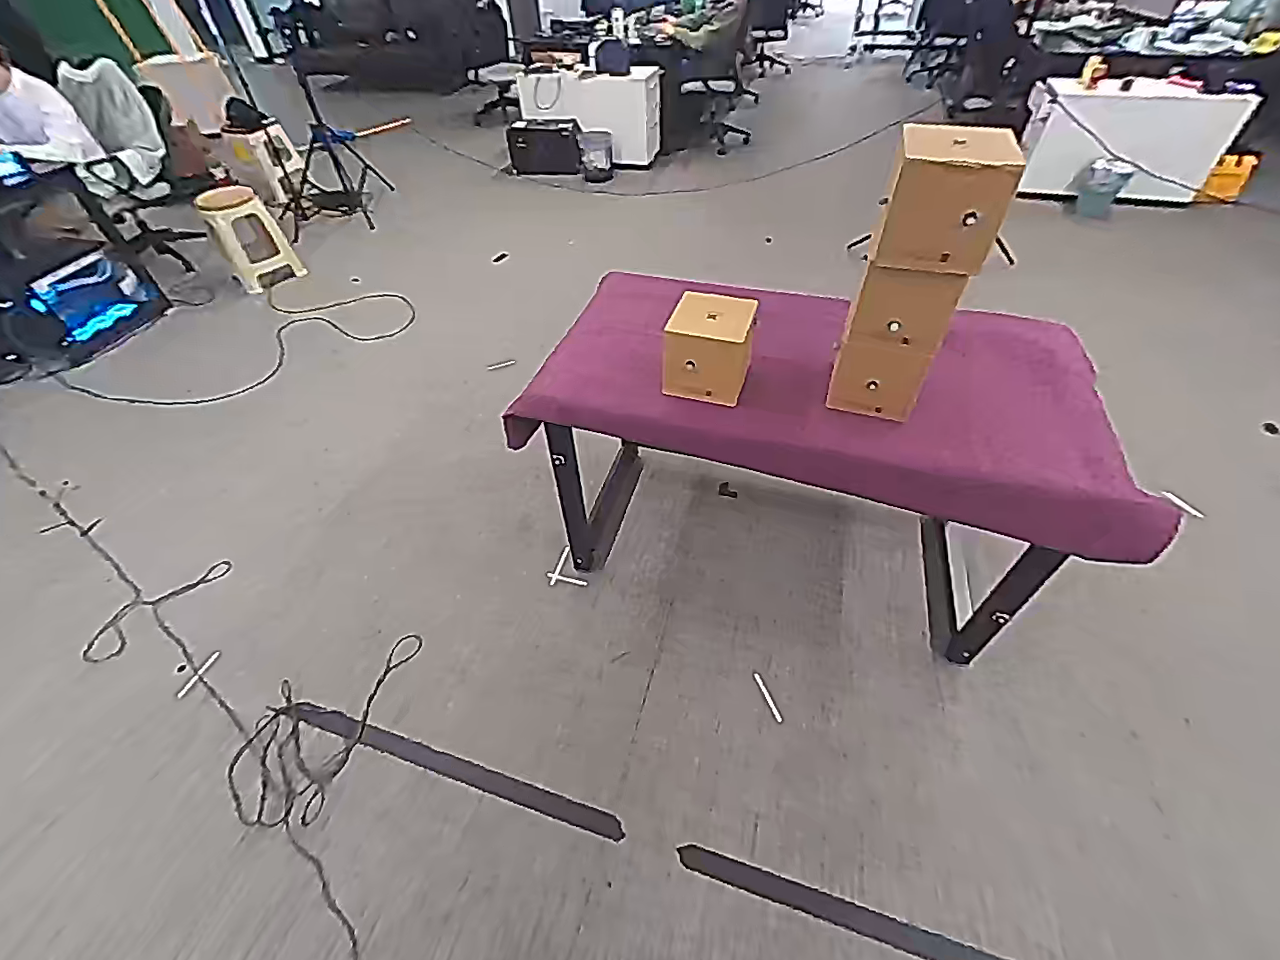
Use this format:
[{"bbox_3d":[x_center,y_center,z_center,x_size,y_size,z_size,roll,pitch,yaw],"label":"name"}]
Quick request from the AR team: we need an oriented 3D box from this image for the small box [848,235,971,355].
[{"bbox_3d":[0.504,-0.364,1.026,0.168,0.176,0.179,14,50,15],"label":"small box"}]

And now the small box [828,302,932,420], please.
[{"bbox_3d":[0.504,-0.250,1.145,0.168,0.176,0.179,14,49,14],"label":"small box"}]

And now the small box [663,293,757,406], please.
[{"bbox_3d":[0.154,-0.286,1.193,0.168,0.176,0.179,13,48,13],"label":"small box"}]

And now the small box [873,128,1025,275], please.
[{"bbox_3d":[0.494,-0.458,0.893,0.168,0.176,0.179,12,48,12],"label":"small box"}]
